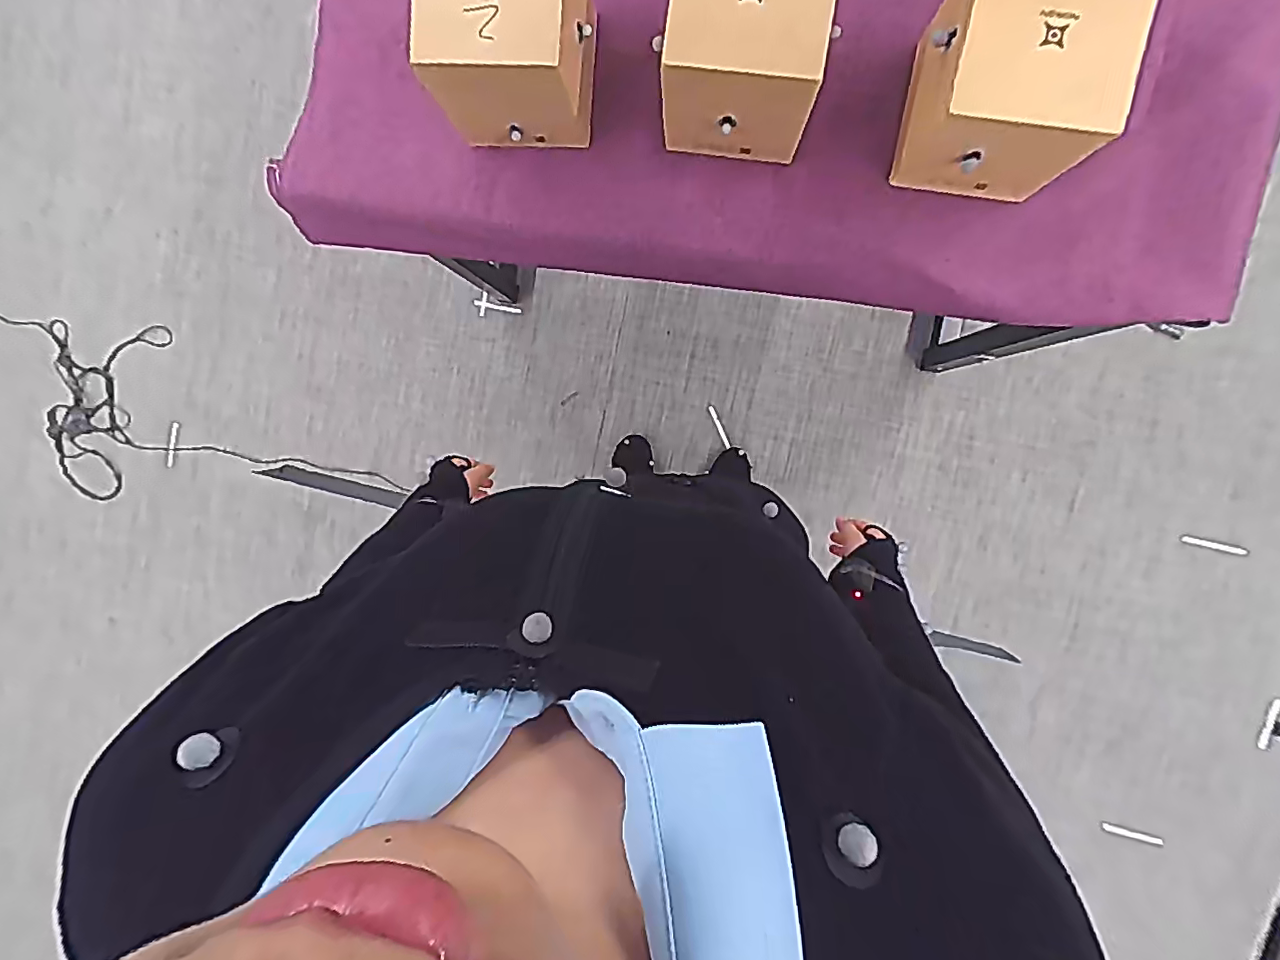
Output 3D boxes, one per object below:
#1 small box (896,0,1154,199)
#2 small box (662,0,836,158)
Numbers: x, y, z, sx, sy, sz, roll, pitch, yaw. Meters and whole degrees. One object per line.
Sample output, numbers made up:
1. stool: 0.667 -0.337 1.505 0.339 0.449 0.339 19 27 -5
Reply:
1. small box: 0.407 -0.441 0.601 0.168 0.176 0.179 11 96 5
2. small box: 0.123 -0.504 0.620 0.168 0.176 0.179 10 95 3
